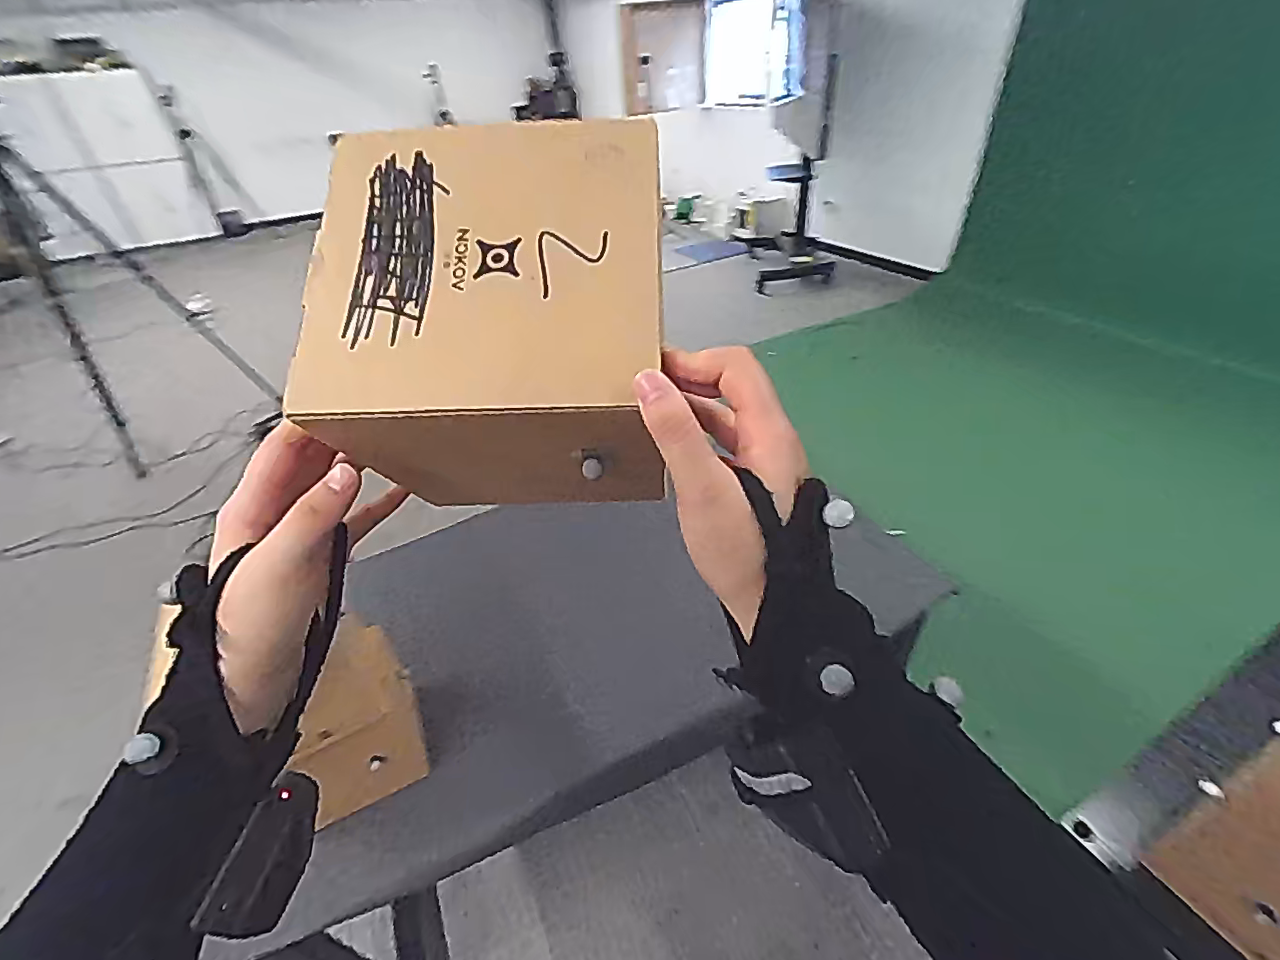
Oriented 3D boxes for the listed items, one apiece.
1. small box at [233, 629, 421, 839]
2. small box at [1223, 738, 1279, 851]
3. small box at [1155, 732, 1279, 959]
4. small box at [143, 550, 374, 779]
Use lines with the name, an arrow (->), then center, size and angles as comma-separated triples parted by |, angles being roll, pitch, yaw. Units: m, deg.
small box -> -0.422, 0.352, 0.757 | 0.179, 0.176, 0.168 | -22, 38, -19
small box -> 0.671, 0.274, 0.446 | 0.168, 0.176, 0.179 | -22, 41, -19
small box -> 0.695, 0.393, 0.556 | 0.179, 0.176, 0.168 | -21, 42, -19
small box -> -0.444, 0.224, 0.654 | 0.168, 0.176, 0.179 | -24, 38, -23
